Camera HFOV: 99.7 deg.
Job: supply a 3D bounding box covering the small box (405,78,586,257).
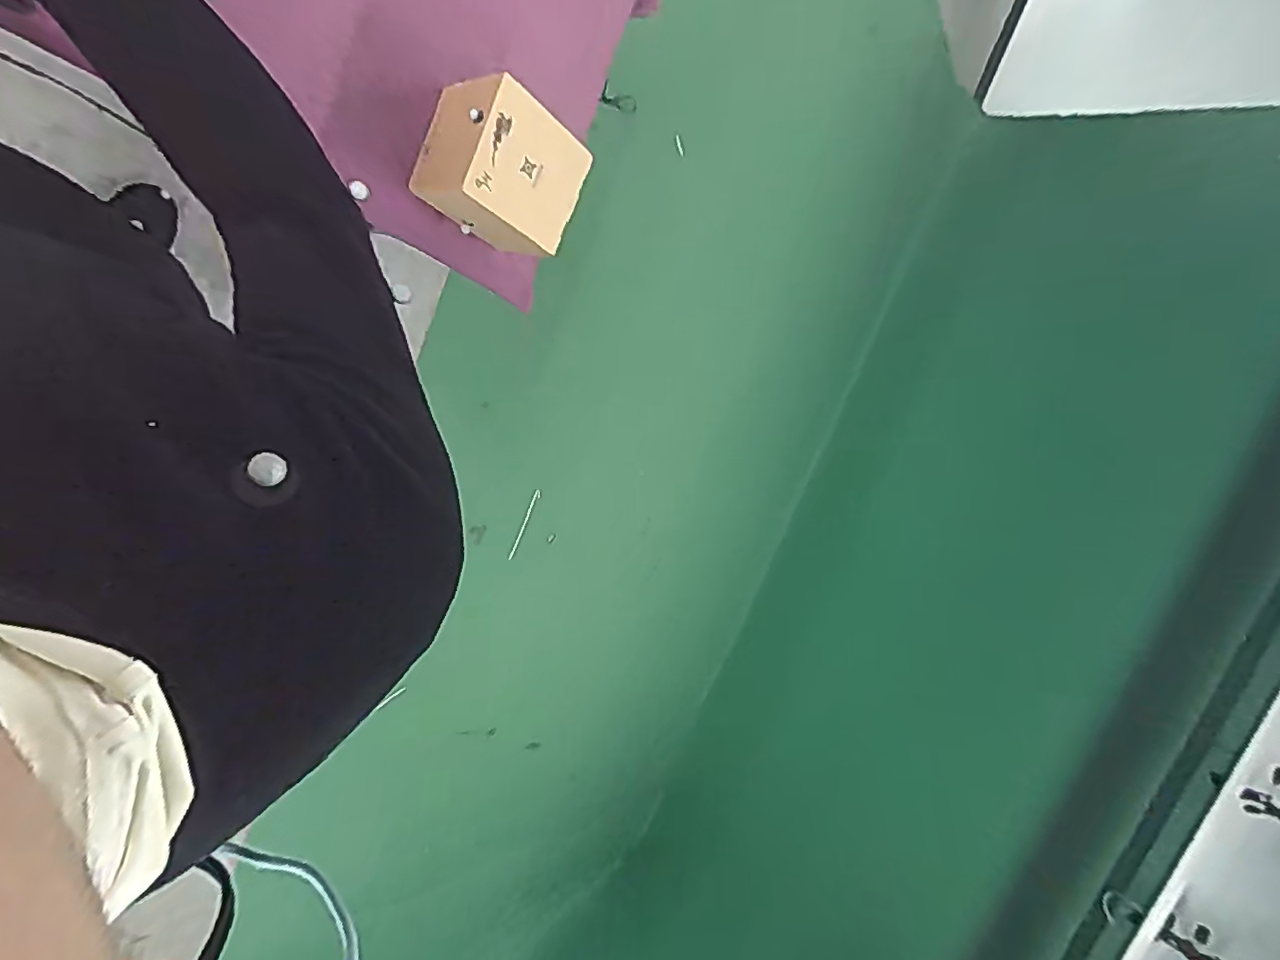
[{"bbox_3d":[-0.221,-0.470,0.831,0.179,0.176,0.168,19,95,-52],"label":"small box"}]
